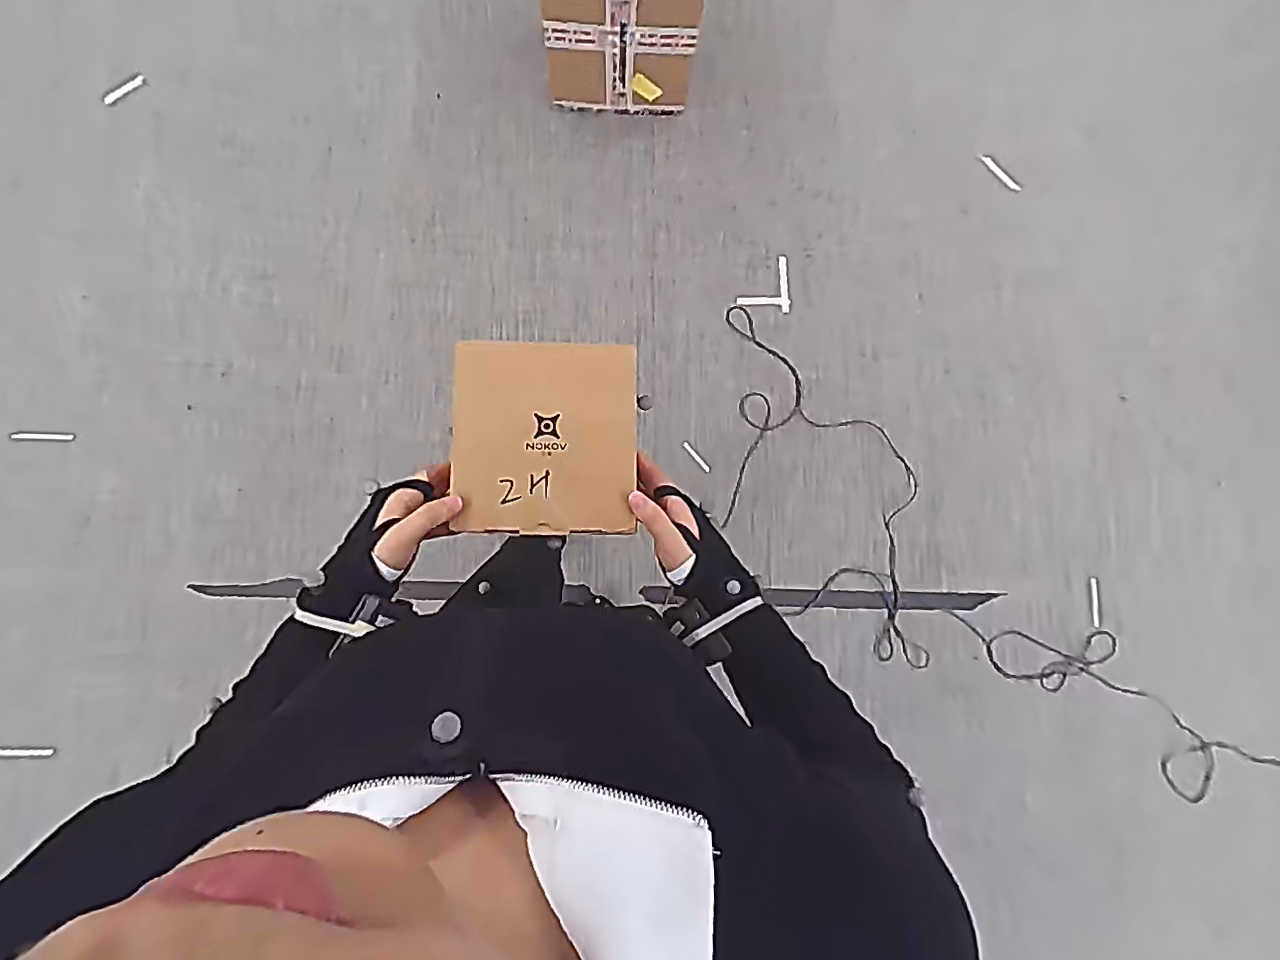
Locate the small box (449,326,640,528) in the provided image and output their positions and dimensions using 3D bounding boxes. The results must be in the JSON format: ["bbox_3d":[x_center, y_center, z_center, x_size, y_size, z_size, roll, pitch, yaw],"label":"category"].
[{"bbox_3d":[-0.090,-0.042,0.564,0.168,0.176,0.179,1,84,-4],"label":"small box"}]
